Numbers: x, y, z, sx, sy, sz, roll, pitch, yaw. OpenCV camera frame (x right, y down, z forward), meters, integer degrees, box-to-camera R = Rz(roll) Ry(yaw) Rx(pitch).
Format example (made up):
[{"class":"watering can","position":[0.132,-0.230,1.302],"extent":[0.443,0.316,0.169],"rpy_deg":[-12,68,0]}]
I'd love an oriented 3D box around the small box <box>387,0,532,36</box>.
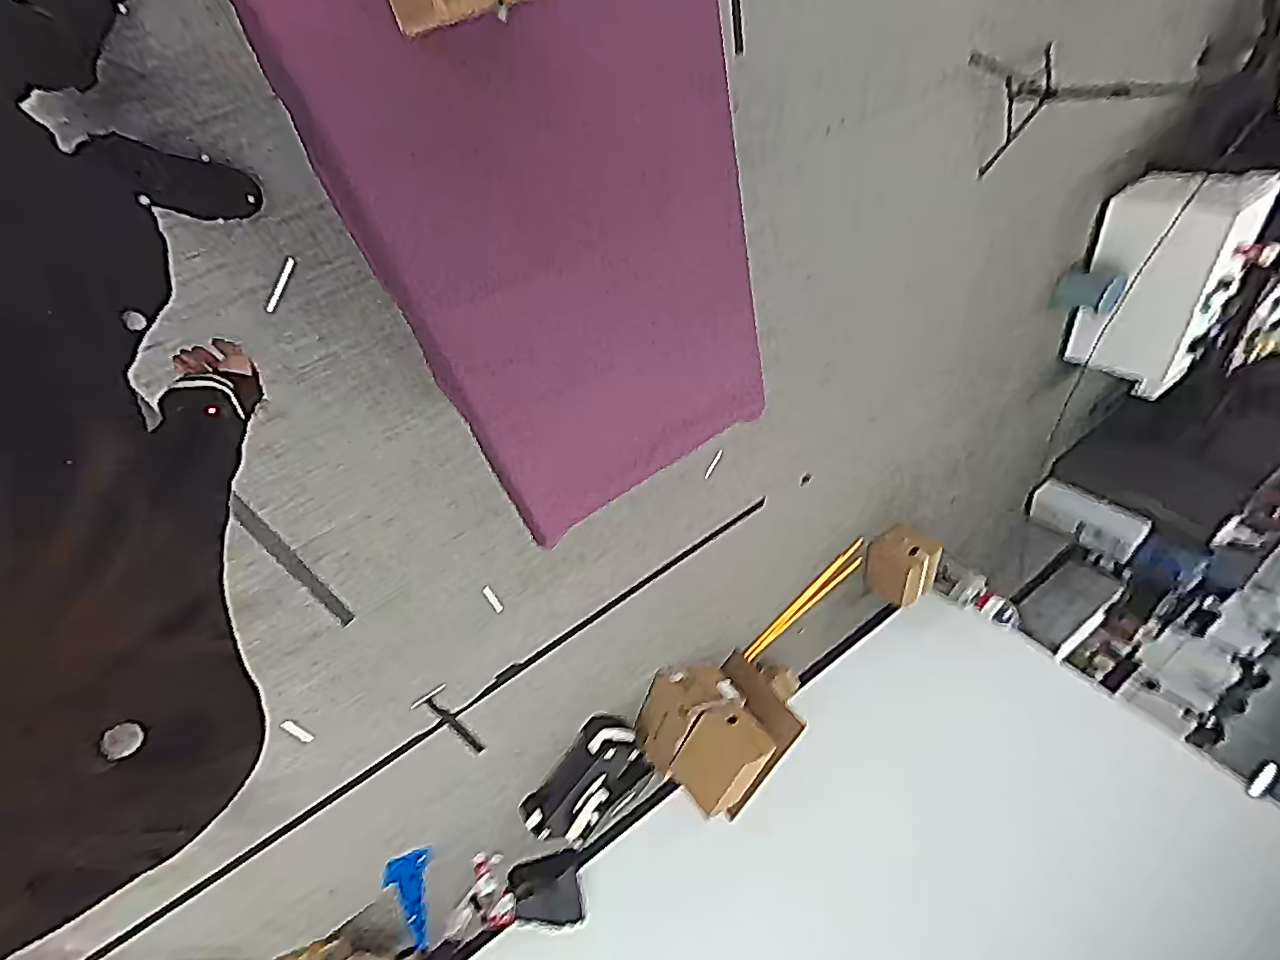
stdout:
[{"class":"small box","position":[-0.189,-0.593,0.562],"extent":[0.179,0.176,0.168],"rpy_deg":[-31,132,-15]}]
